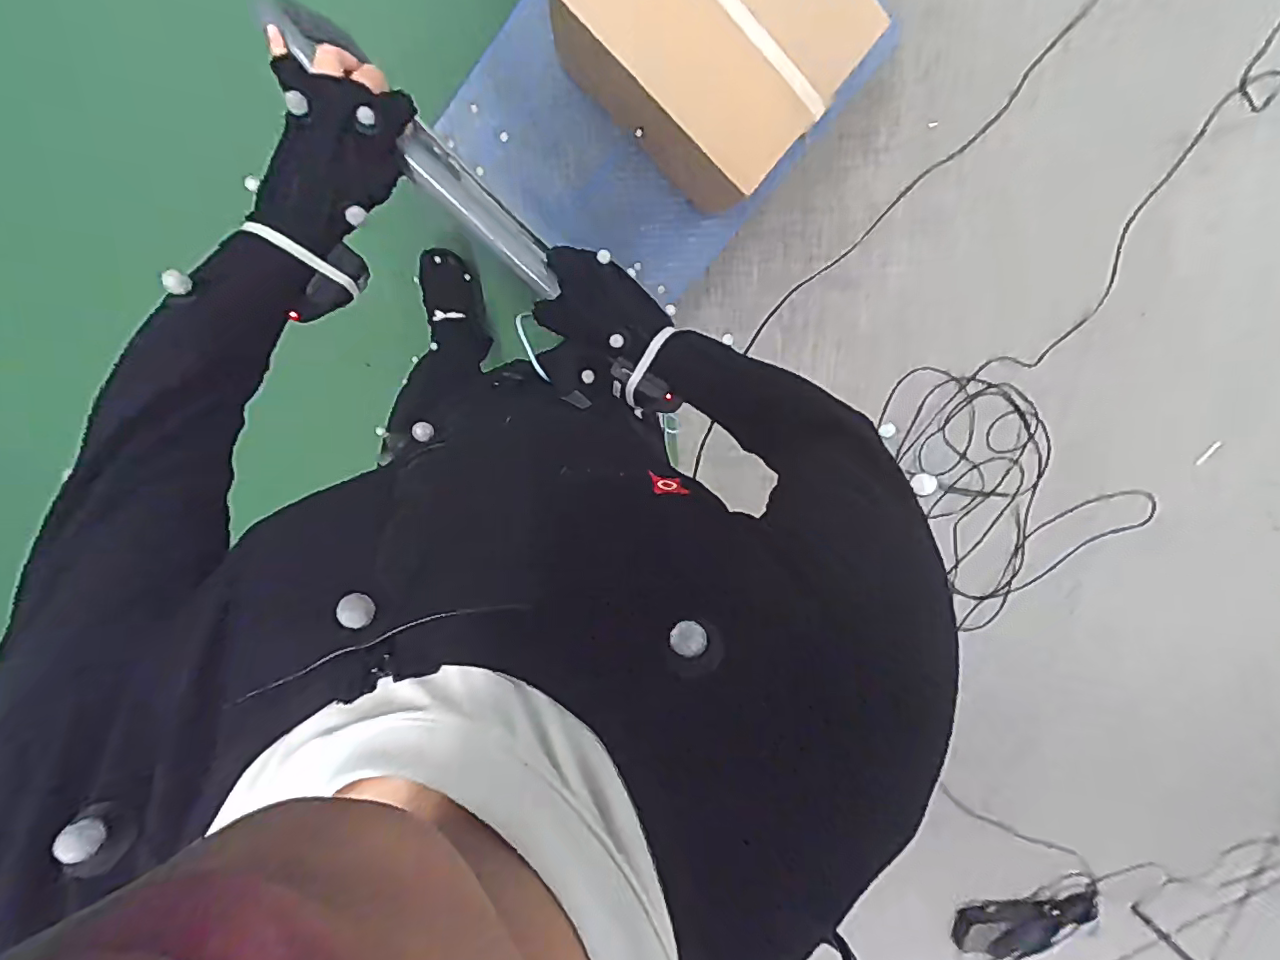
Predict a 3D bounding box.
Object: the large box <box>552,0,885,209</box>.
[{"bbox_3d":[0.109,-0.739,0.916,0.408,0.320,0.320,38,102,-17],"label":"large box"}]
